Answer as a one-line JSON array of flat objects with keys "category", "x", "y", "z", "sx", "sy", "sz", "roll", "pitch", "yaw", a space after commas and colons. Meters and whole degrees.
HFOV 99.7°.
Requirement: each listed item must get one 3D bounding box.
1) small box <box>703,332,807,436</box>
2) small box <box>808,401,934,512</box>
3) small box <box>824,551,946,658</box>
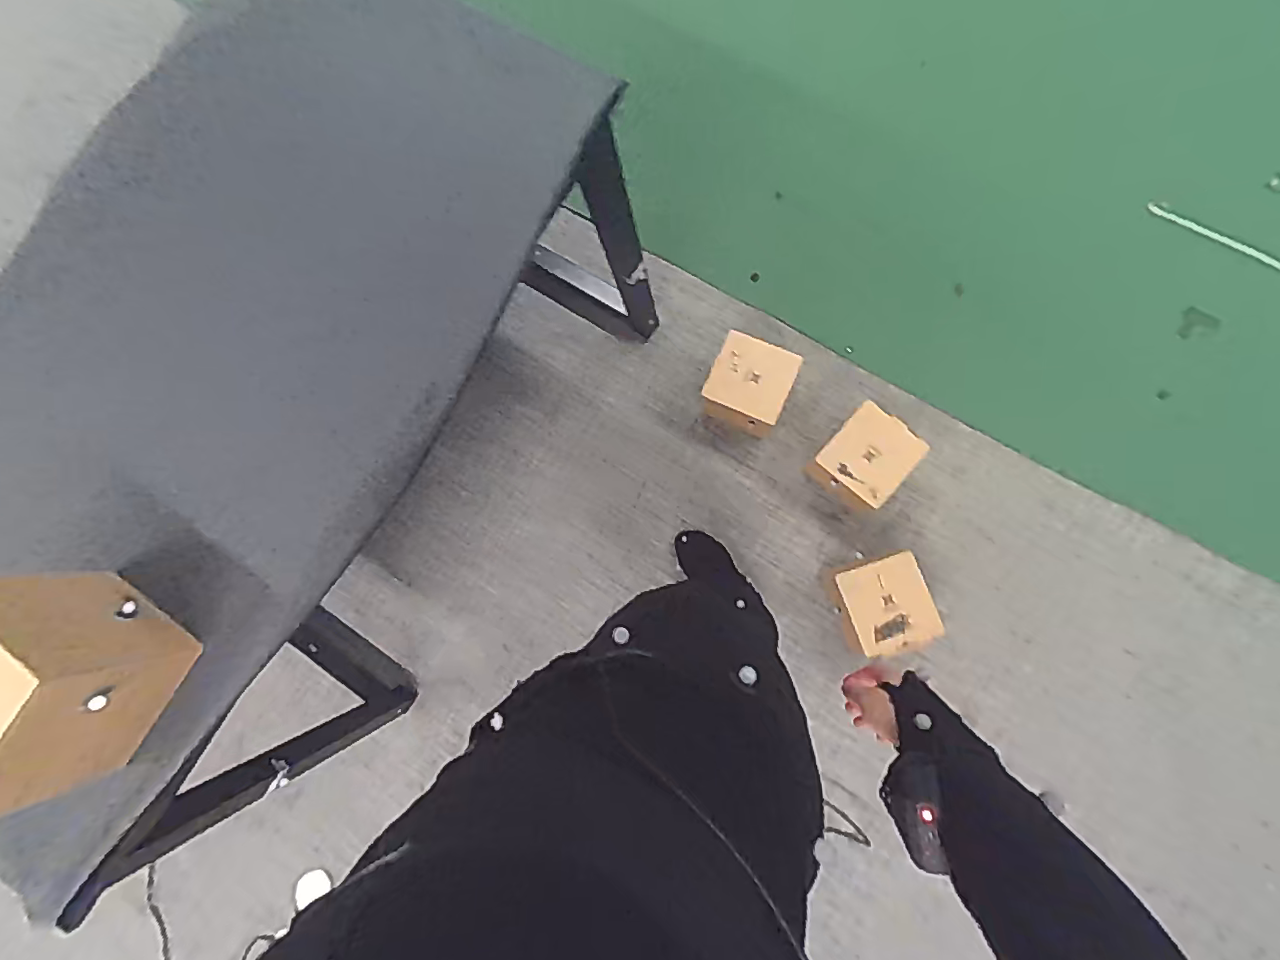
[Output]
[{"category": "small box", "x": 0.259, "y": -0.212, "z": 1.251, "sx": 0.179, "sy": 0.176, "sz": 0.168, "roll": 24, "pitch": 87, "yaw": 9}, {"category": "small box", "x": 0.499, "y": -0.045, "z": 1.202, "sx": 0.168, "sy": 0.176, "sz": 0.179, "roll": 41, "pitch": 91, "yaw": 9}, {"category": "small box", "x": 0.518, "y": 0.261, "z": 1.169, "sx": 0.168, "sy": 0.176, "sz": 0.179, "roll": -20, "pitch": 81, "yaw": 5}]
